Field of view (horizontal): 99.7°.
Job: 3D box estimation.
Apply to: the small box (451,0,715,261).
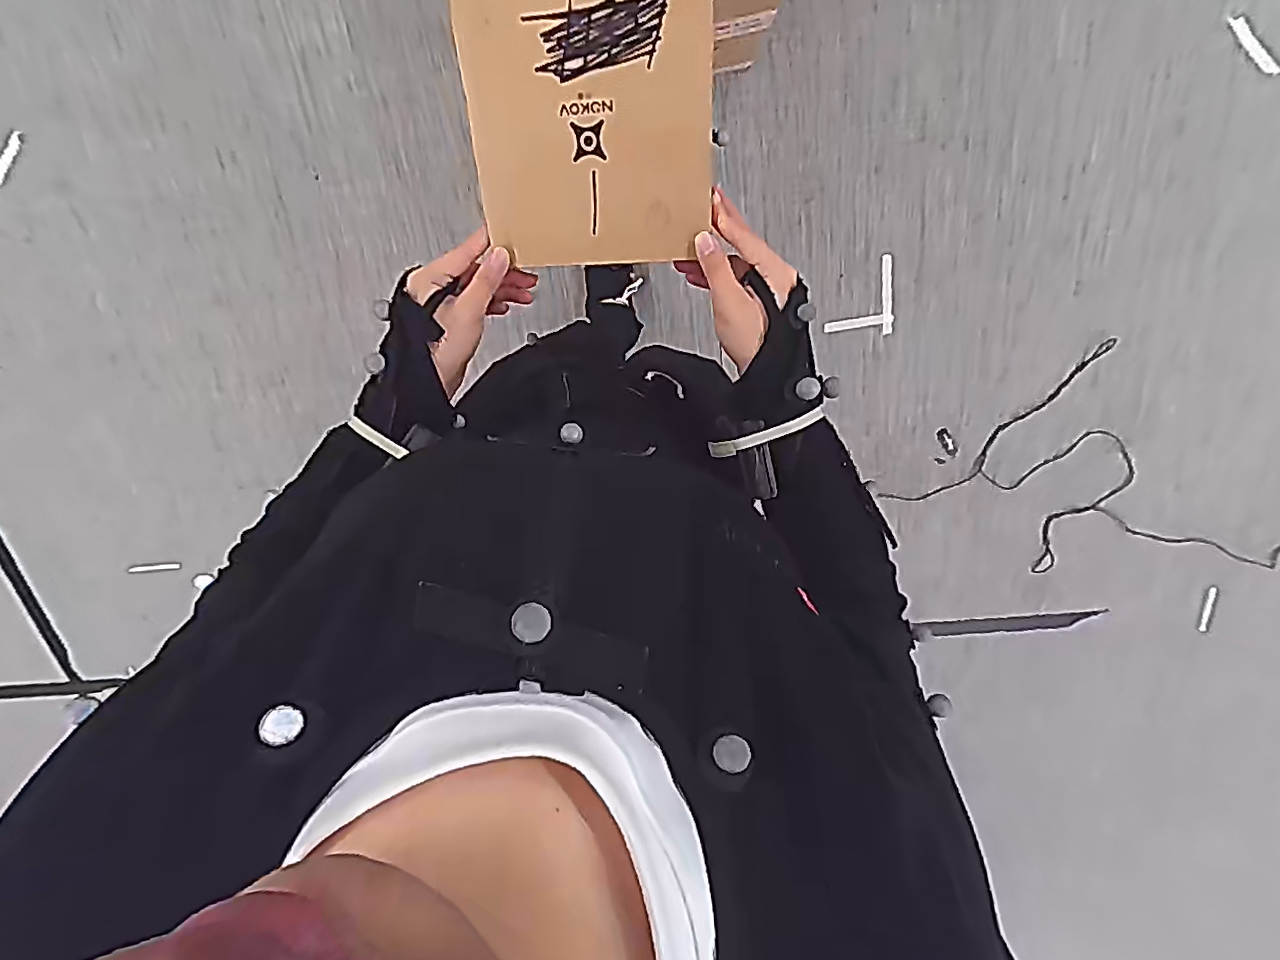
[{"bbox_3d":[-0.027,-0.278,0.429,0.168,0.176,0.179,0,119,7],"label":"small box"}]
